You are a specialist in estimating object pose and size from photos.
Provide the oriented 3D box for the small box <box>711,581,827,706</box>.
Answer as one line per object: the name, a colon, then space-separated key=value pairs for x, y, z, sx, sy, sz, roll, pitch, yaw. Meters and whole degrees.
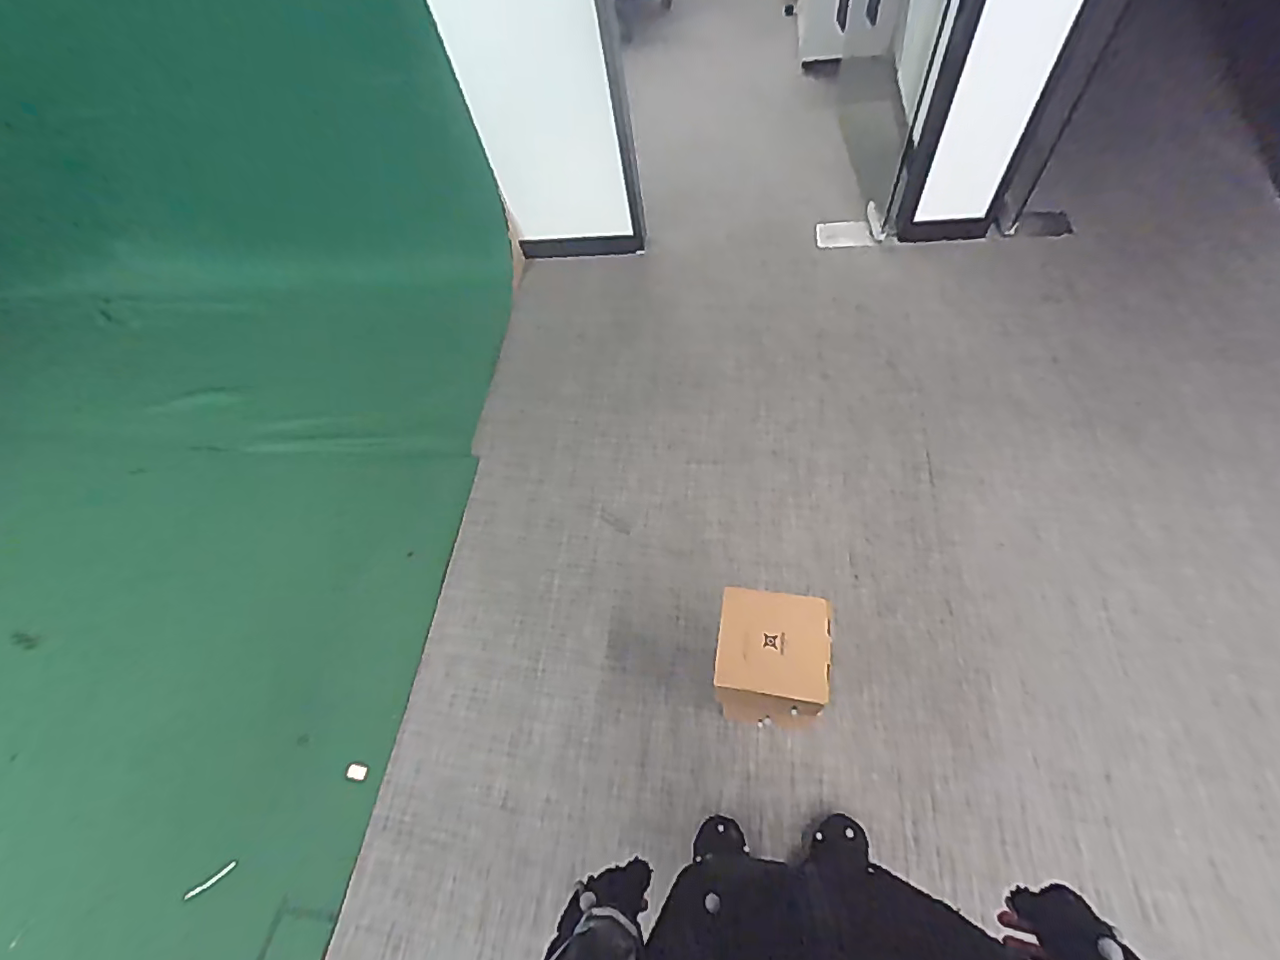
small box: x=0.223 y=0.290 z=0.943 sx=0.179 sy=0.176 sz=0.168 roll=4 pitch=62 yaw=13

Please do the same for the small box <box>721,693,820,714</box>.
small box: x=0.260 y=0.366 z=1.083 sx=0.179 sy=0.176 sz=0.168 roll=6 pitch=63 yaw=12

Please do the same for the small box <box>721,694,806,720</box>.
small box: x=0.283 y=0.437 z=1.225 sx=0.179 sy=0.176 sz=0.168 roll=7 pitch=62 yaw=13
